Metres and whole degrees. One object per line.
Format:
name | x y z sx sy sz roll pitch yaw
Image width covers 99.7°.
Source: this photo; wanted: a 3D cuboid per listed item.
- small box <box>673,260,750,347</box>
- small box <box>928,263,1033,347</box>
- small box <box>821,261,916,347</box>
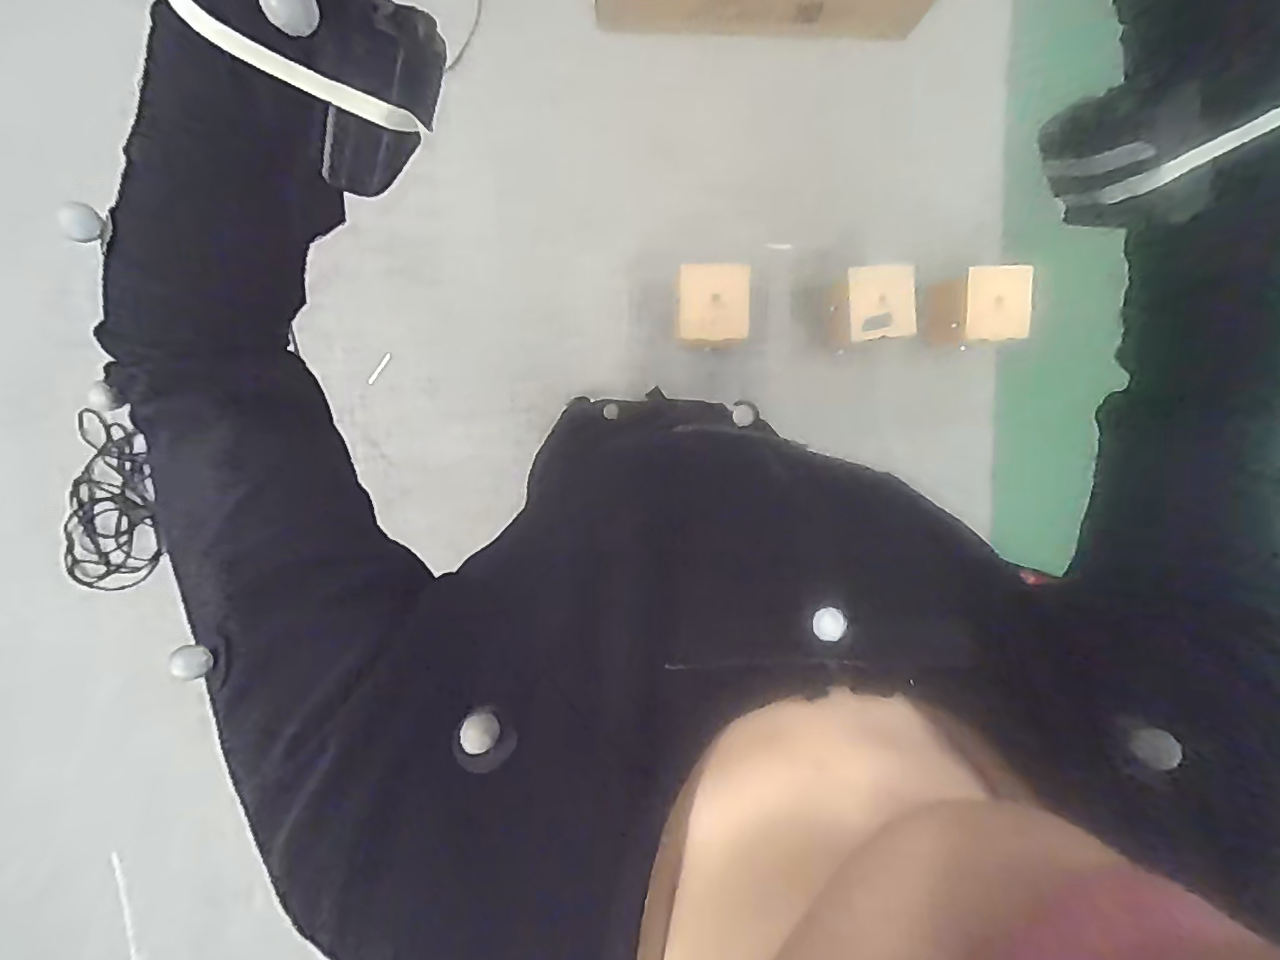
small box | 0.172 -0.433 1.344 0.168 0.176 0.179 -1 97 -2
small box | 0.866 -0.443 1.387 0.168 0.176 0.179 -2 97 -2
small box | 0.574 -0.438 1.369 0.168 0.176 0.179 -6 96 -3
